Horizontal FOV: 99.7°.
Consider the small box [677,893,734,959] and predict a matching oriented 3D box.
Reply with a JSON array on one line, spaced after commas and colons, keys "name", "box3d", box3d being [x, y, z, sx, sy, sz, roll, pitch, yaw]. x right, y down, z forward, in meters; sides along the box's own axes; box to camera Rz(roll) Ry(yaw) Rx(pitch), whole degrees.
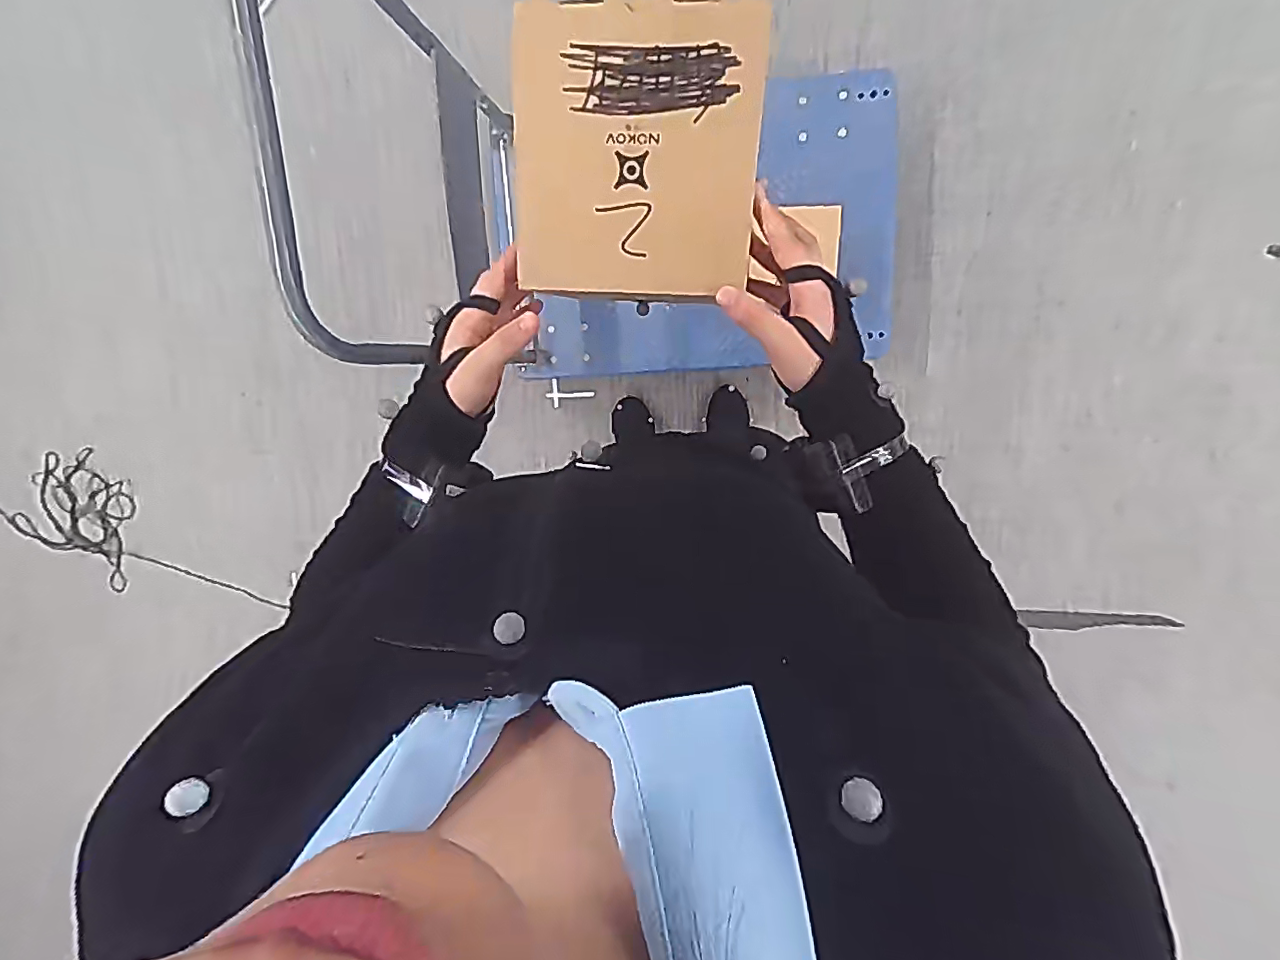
[{"name": "small box", "box3d": [0.202, 1.418, 1.651, 0.168, 0.176, 0.179, -2, 99, 7]}]

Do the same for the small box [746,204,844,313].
[{"name": "small box", "box3d": [0.306, -0.442, 1.101, 0.168, 0.176, 0.179, 2, 101, 7]}]
